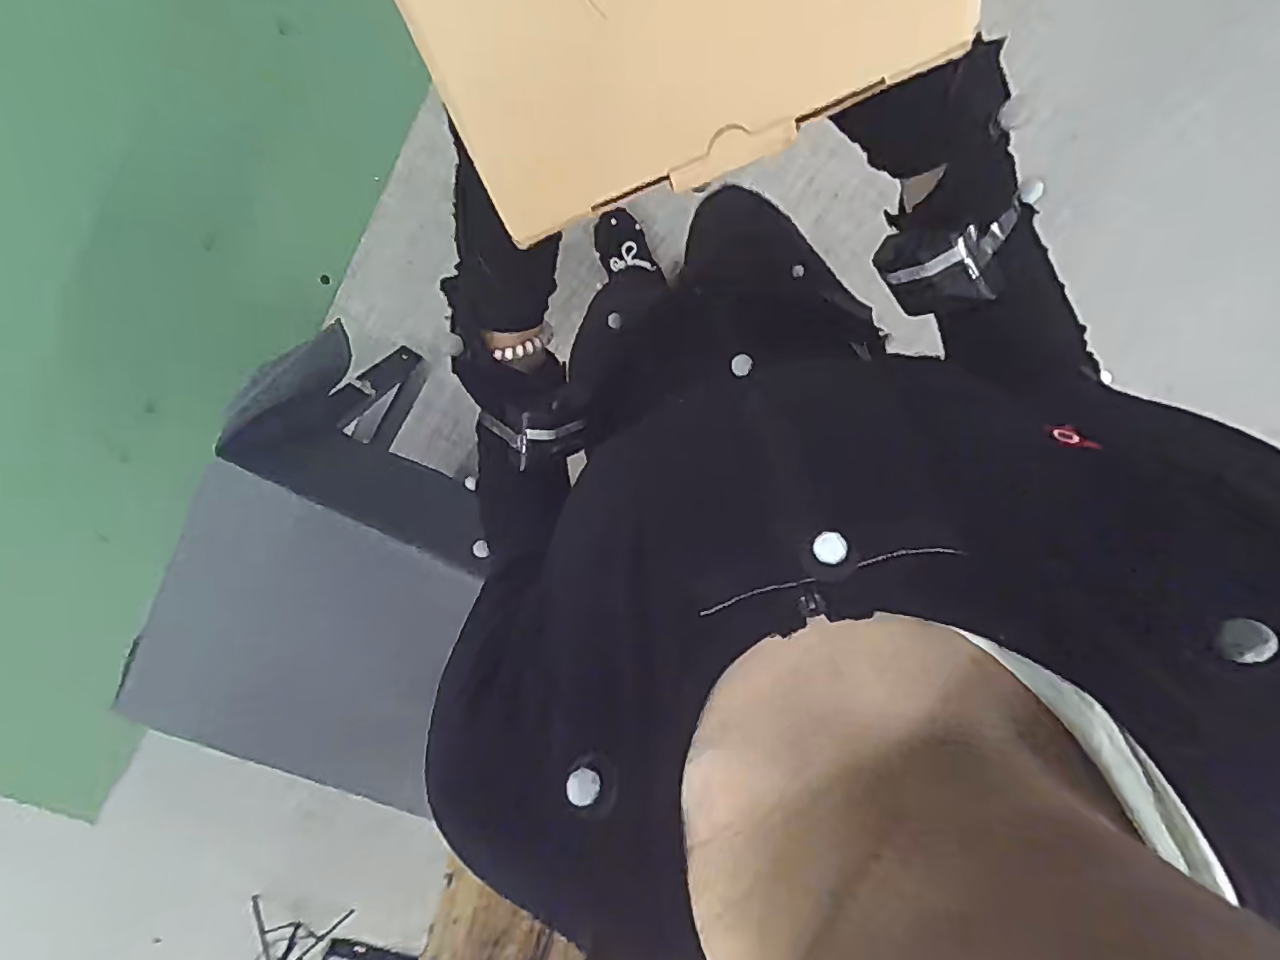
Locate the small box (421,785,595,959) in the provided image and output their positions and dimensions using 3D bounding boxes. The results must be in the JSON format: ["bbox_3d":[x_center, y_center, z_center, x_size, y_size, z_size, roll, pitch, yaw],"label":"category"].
[{"bbox_3d":[-0.179,0.579,0.783,0.179,0.176,0.168,29,113,-16],"label":"small box"}]
